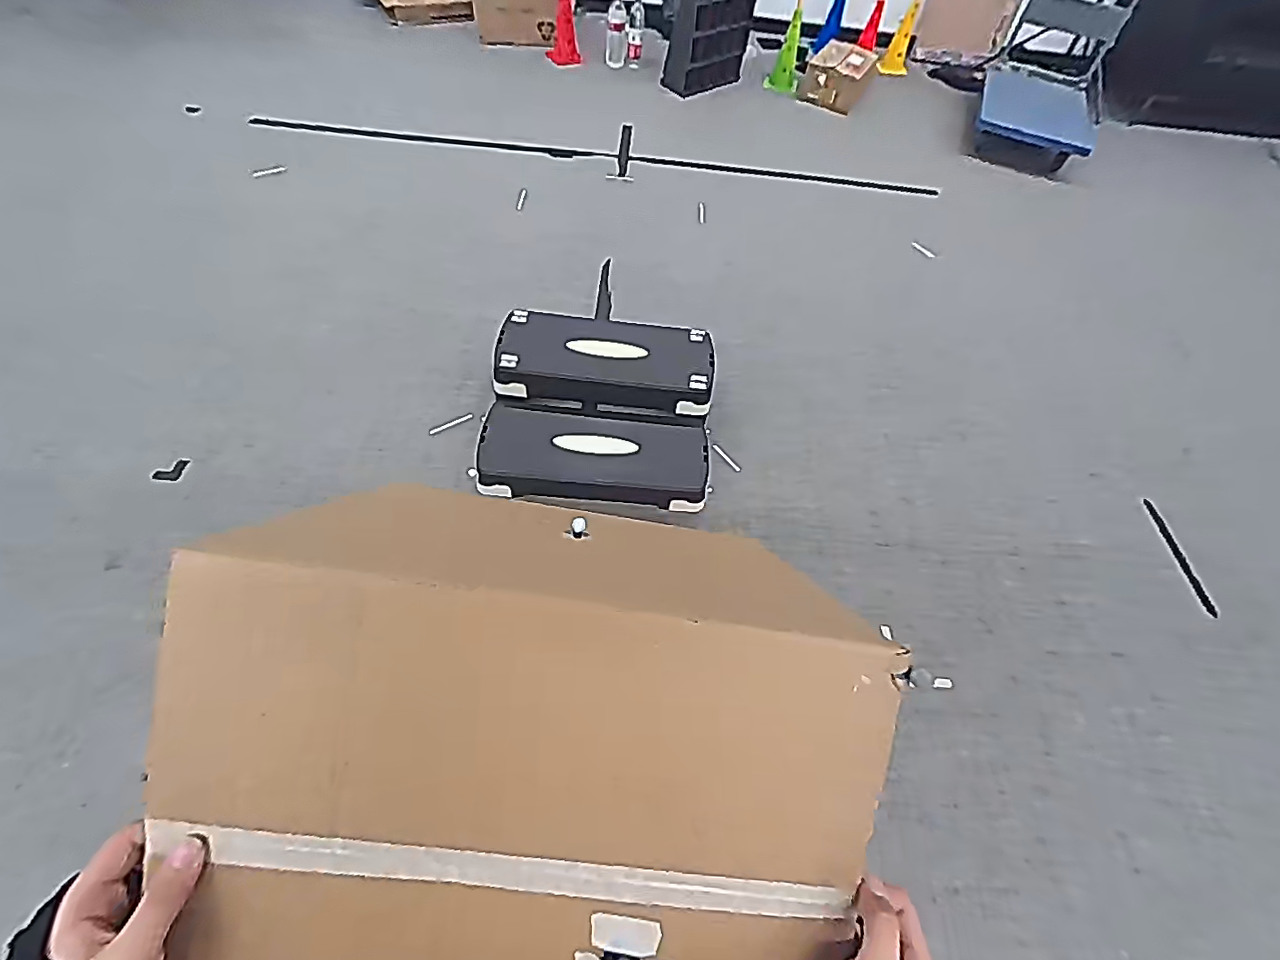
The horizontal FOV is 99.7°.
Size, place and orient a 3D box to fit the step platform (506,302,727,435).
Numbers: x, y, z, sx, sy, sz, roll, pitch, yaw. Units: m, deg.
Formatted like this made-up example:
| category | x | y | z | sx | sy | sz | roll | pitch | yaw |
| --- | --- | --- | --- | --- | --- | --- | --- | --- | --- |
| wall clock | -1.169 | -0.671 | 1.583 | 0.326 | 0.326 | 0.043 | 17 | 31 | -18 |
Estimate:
| category | x | y | z | sx | sy | sz | roll | pitch | yaw |
| --- | --- | --- | --- | --- | --- | --- | --- | --- | --- |
| step platform | -0.069 | -0.356 | 1.717 | 0.684 | 0.204 | 0.286 | 11 | 56 | 0 |
